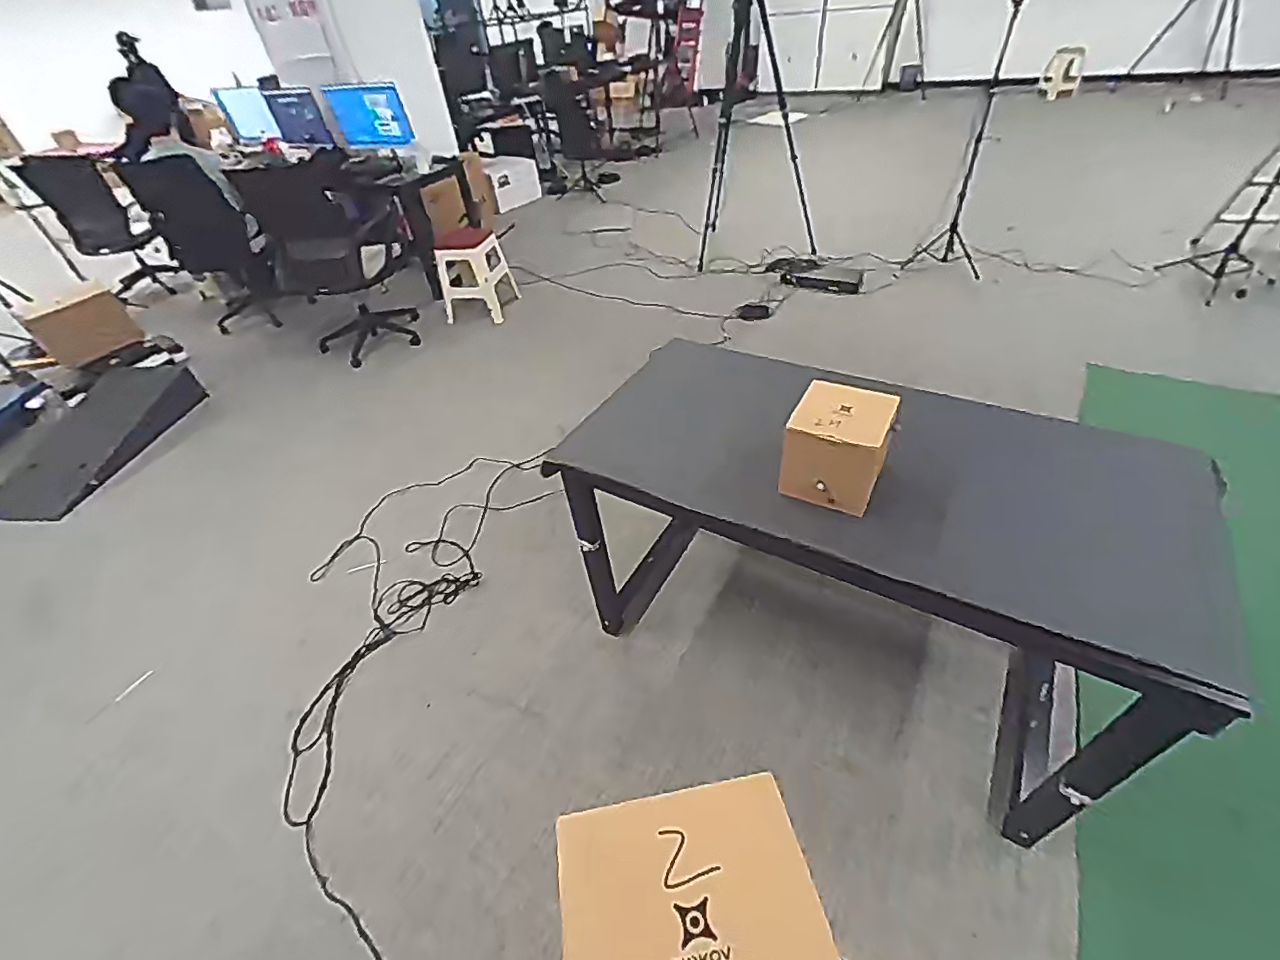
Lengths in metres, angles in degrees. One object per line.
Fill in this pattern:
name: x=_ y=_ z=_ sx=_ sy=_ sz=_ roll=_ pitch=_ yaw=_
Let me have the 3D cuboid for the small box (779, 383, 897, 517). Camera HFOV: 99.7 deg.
small box: x=0.379 y=-0.061 z=1.052 sx=0.168 sy=0.176 sz=0.179 roll=18 pitch=48 yaw=25
